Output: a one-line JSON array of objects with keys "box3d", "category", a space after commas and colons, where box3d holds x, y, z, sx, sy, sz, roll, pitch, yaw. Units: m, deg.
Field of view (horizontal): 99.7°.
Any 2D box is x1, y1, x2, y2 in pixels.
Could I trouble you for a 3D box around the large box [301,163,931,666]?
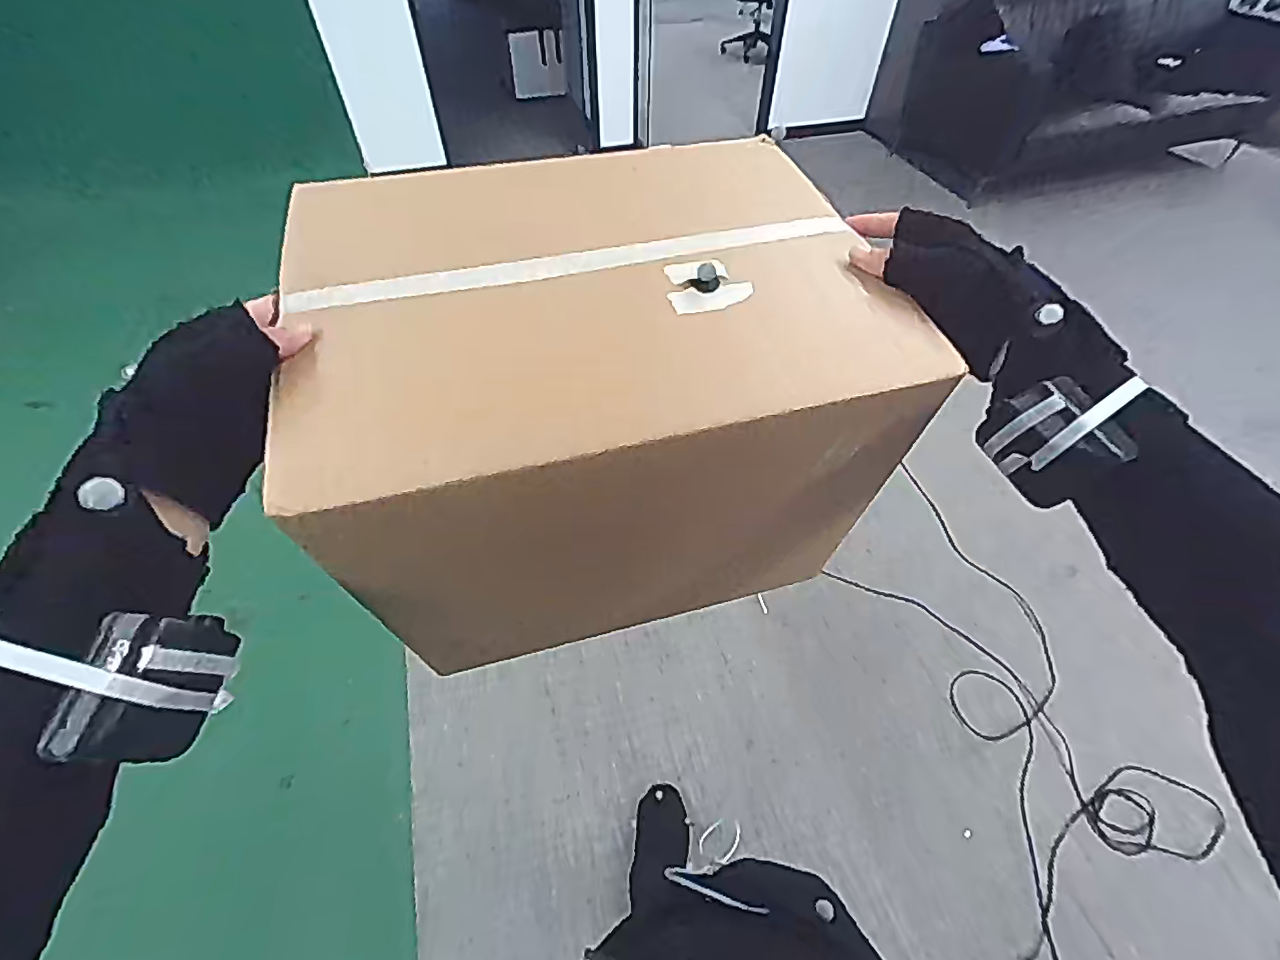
[{"box3d": [-0.041, -0.061, 0.524, 0.408, 0.320, 0.320, -12, 57, -11], "category": "large box"}]
